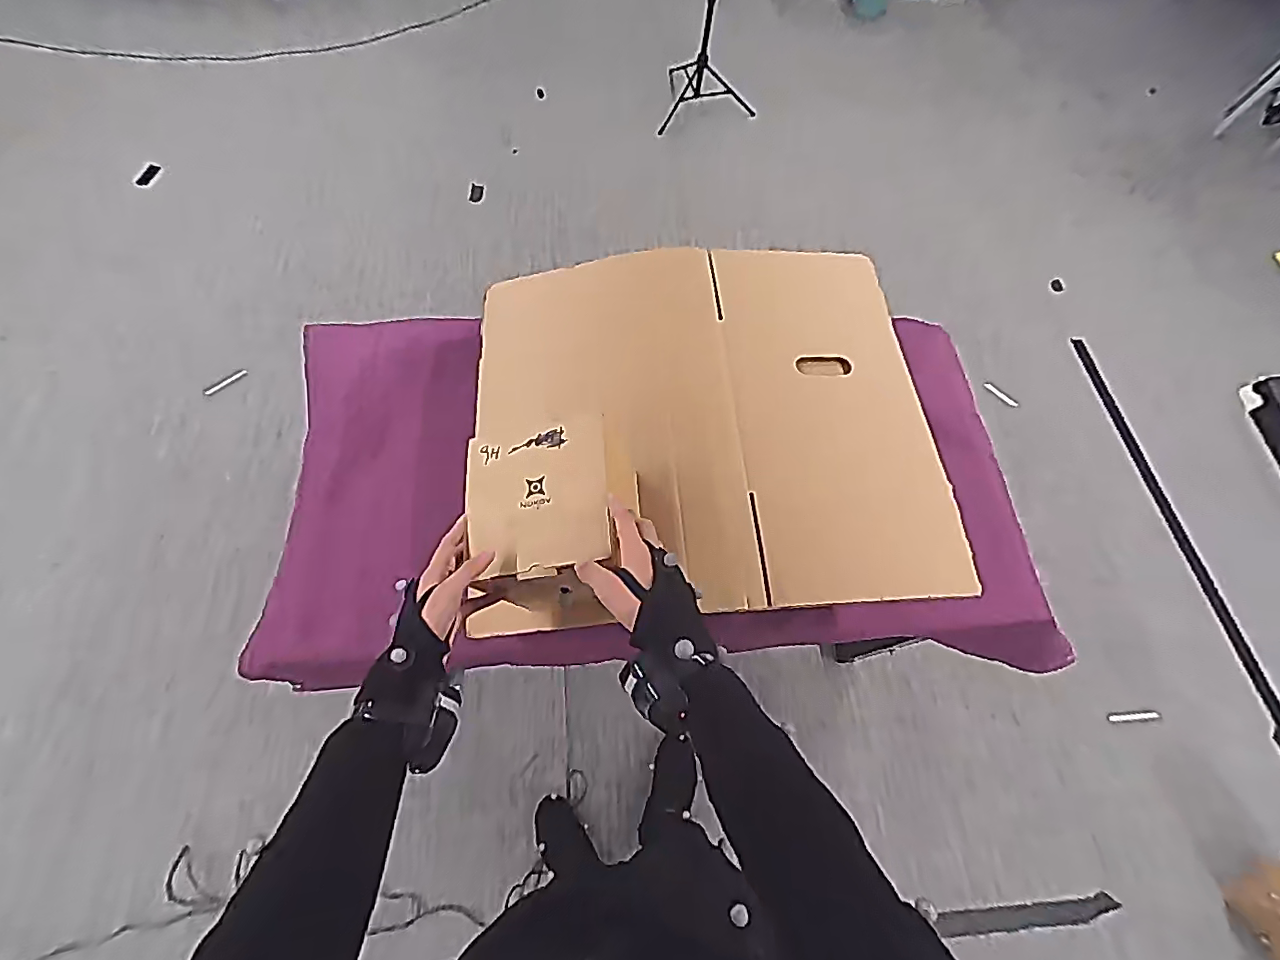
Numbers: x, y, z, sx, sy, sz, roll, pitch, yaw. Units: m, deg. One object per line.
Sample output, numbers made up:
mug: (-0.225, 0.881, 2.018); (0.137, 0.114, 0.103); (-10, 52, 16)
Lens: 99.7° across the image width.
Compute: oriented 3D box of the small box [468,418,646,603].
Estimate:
small box: (-0.093, 0.050, 0.667); (0.168, 0.176, 0.179); (-10, 66, 10)
